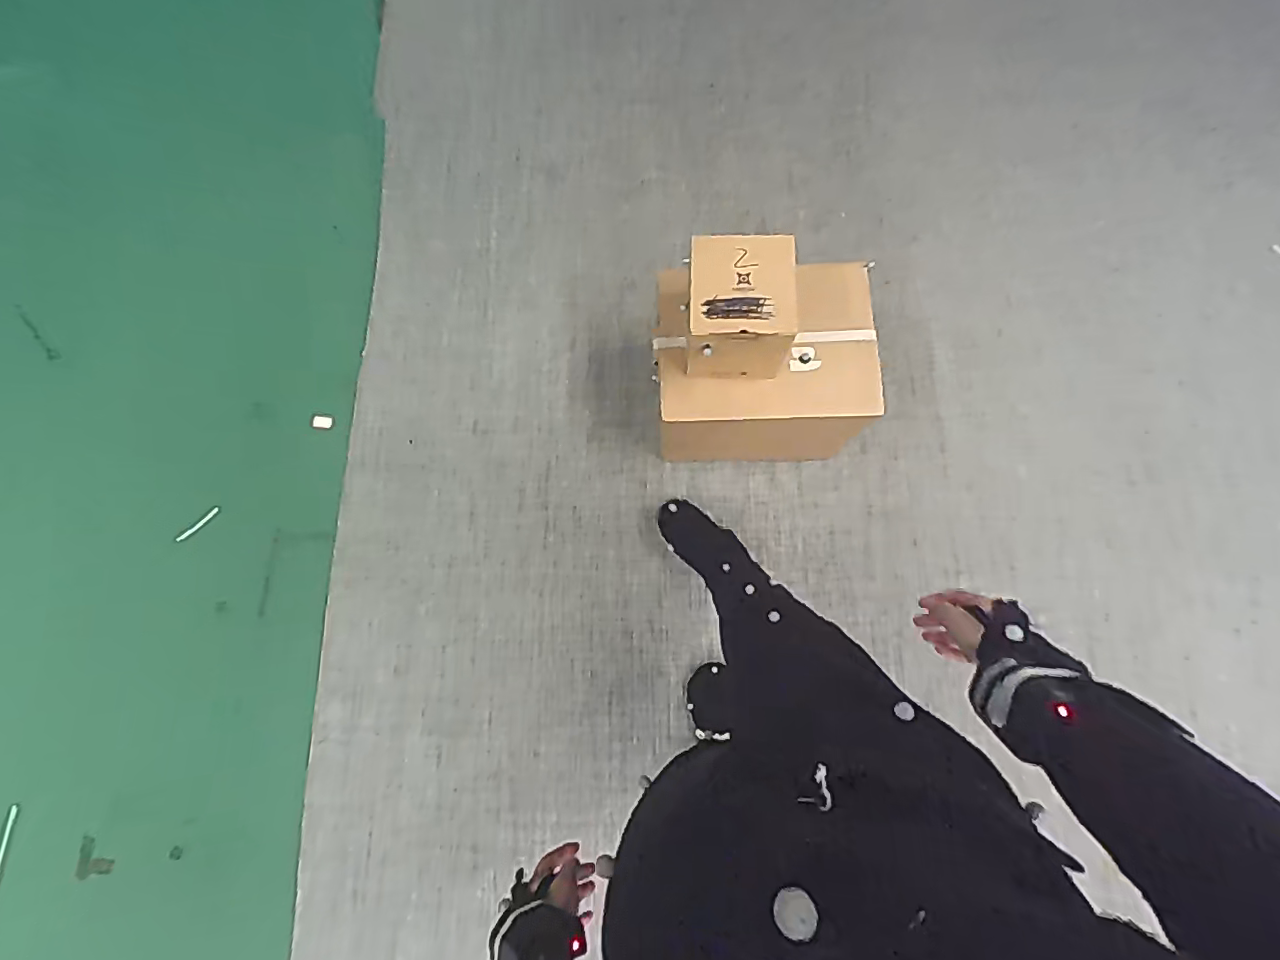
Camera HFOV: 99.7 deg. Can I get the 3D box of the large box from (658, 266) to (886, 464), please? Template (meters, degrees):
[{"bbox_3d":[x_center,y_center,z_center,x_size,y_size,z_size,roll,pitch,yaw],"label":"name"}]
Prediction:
[{"bbox_3d":[0.246,-0.223,1.153,0.408,0.320,0.320,-1,78,1],"label":"large box"}]
